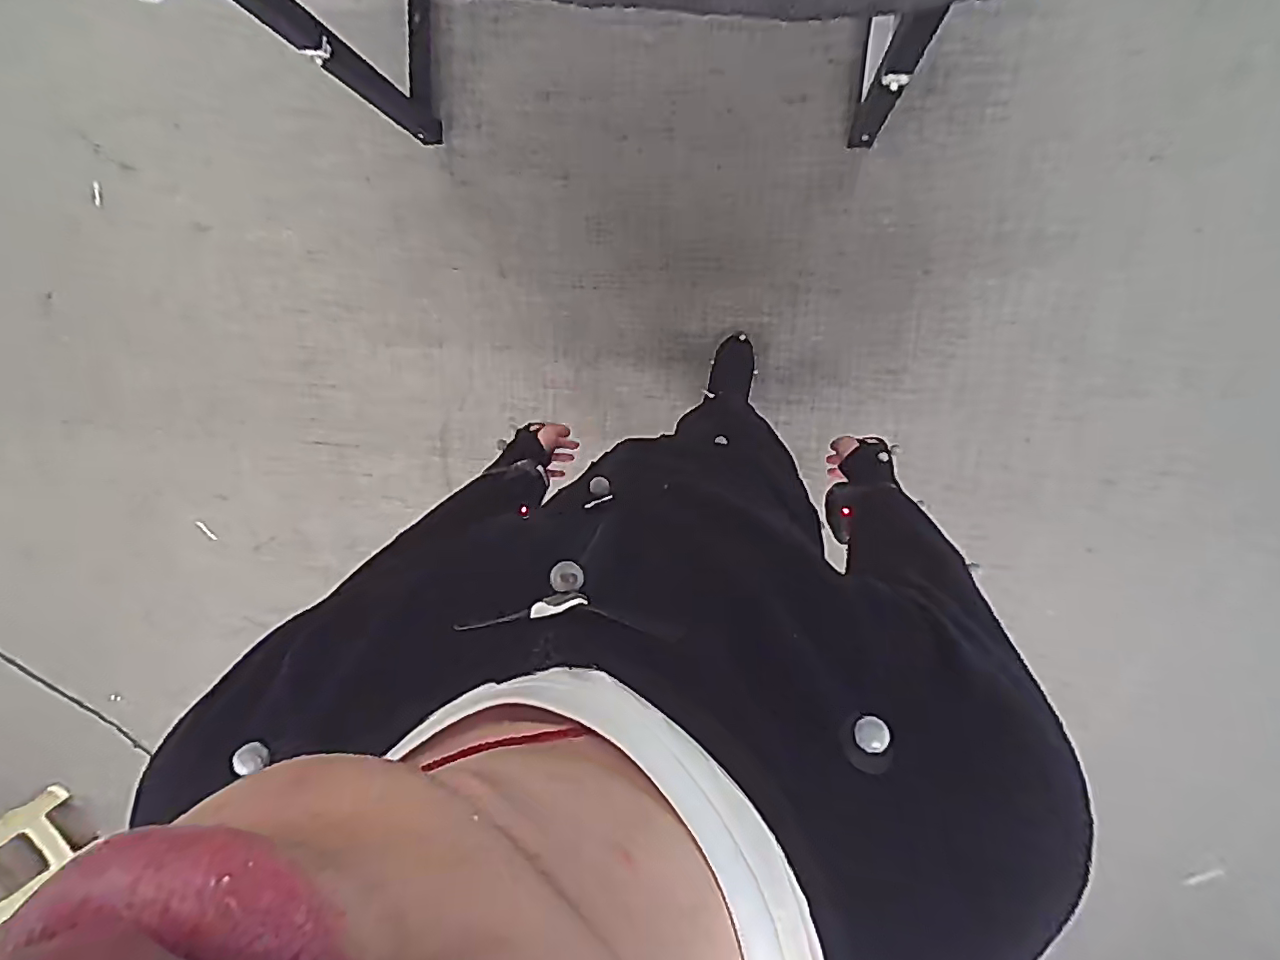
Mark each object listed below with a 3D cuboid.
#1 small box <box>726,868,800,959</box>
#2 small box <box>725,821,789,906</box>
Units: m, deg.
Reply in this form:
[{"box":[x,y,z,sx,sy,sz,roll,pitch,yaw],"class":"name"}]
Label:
[{"box":[0.334,1.236,1.504,0.168,0.176,0.179,8,103,4],"class":"small box"},{"box":[0.359,1.204,1.686,0.179,0.176,0.168,4,101,7],"class":"small box"}]
